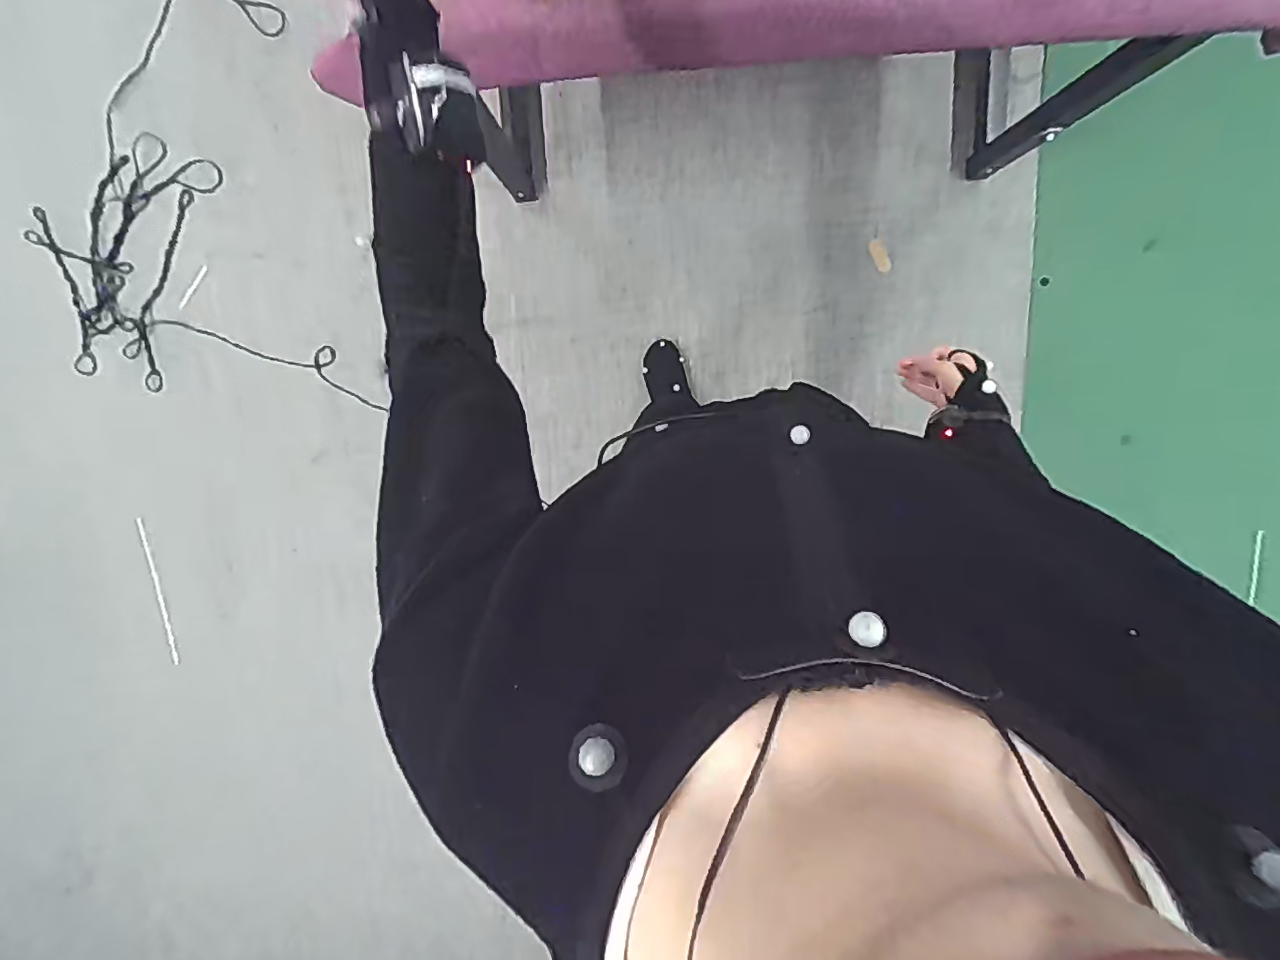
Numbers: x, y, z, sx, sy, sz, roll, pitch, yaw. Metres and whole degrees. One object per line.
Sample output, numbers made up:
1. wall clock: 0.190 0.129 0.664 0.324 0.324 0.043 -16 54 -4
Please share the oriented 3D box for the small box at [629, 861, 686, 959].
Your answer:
1. small box: 0.053 1.297 1.640 0.168 0.176 0.179 1 101 3
